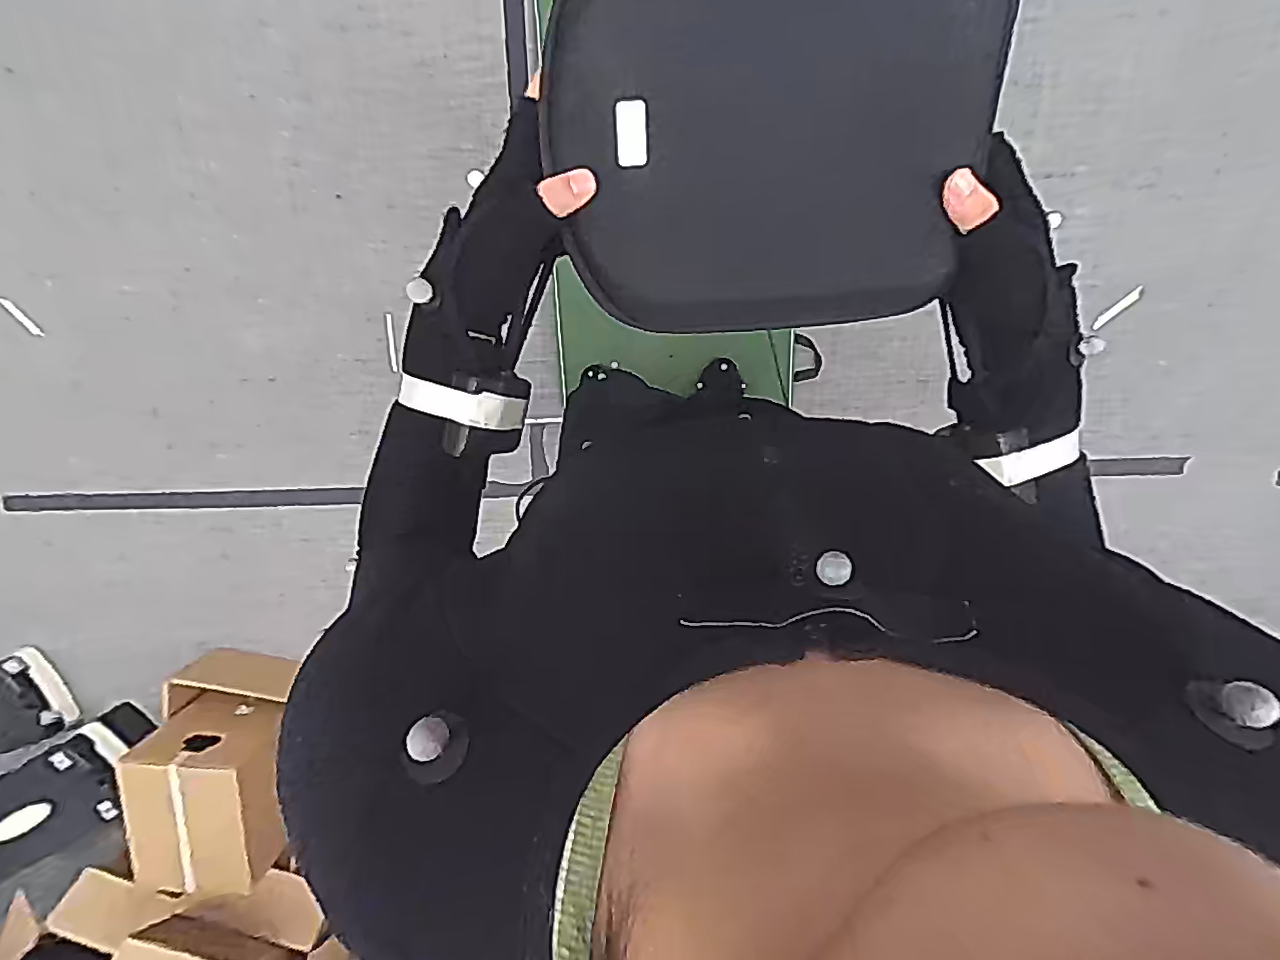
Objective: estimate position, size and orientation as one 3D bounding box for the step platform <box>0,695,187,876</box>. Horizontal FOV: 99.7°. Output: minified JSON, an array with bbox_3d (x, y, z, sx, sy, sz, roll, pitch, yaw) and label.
[{"bbox_3d":[-1.835,0.973,1.714,0.684,0.204,0.286,-30,101,7],"label":"step platform"}]
